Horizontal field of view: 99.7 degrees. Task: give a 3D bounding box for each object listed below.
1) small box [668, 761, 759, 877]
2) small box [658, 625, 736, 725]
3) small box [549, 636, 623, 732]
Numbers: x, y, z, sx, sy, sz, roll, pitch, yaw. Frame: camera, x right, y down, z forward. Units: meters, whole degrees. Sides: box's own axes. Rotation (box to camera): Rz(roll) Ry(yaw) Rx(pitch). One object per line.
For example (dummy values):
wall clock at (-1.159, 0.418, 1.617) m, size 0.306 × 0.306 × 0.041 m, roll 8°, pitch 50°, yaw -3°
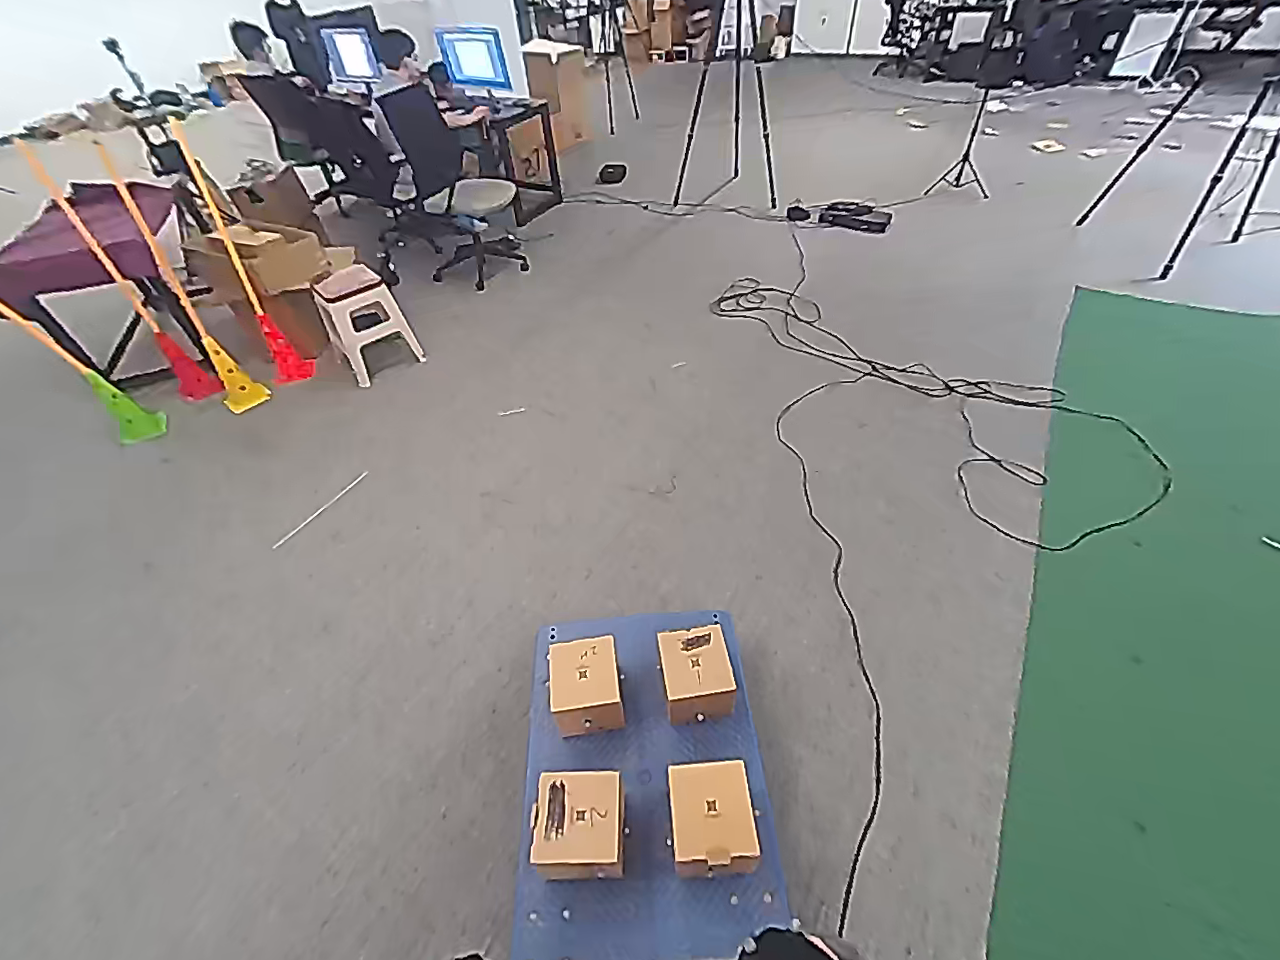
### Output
small box at (0.148, 0.726, 1.158) m, size 0.168 × 0.176 × 0.179 m, roll -4°, pitch 46°, yaw 0°
small box at (0.138, 0.498, 1.379) m, size 0.168 × 0.176 × 0.179 m, roll -7°, pitch 47°, yaw -3°
small box at (-0.136, 0.523, 1.373) m, size 0.168 × 0.176 × 0.179 m, roll -6°, pitch 46°, yaw -3°
